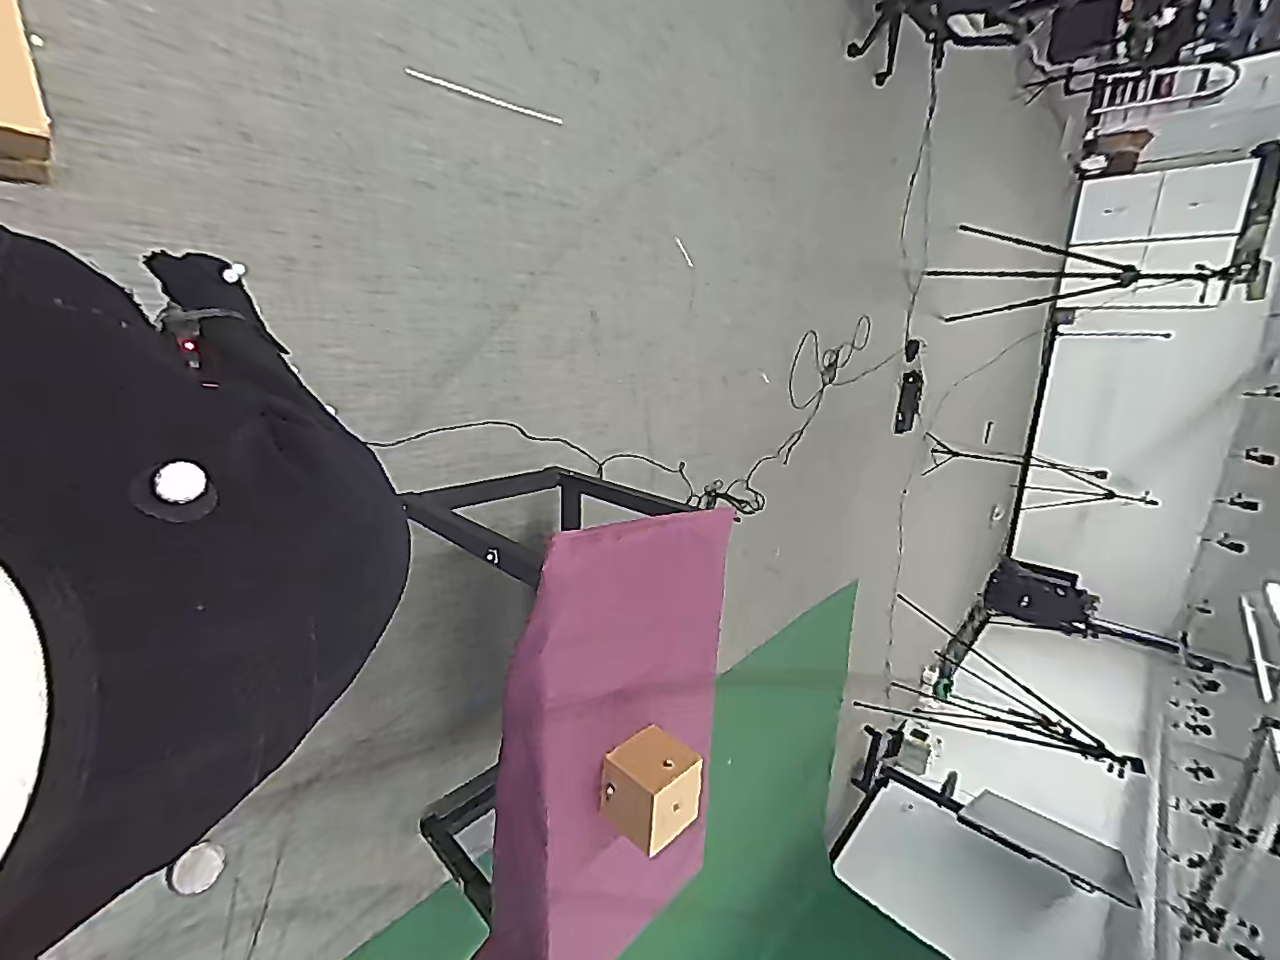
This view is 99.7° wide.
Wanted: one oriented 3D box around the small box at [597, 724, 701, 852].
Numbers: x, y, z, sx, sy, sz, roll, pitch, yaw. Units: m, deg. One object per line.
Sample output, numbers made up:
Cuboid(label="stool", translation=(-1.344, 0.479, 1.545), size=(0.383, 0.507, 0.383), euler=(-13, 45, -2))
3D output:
Cuboid(label="small box", translation=(0.021, 0.719, 1.287), size=(0.179, 0.176, 0.168), euler=(-7, 106, -46))

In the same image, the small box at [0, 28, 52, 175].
Cuboid(label="small box", translation=(-1.047, -0.590, 0.833), size=(0.168, 0.176, 0.179), euler=(-16, 112, -44))
